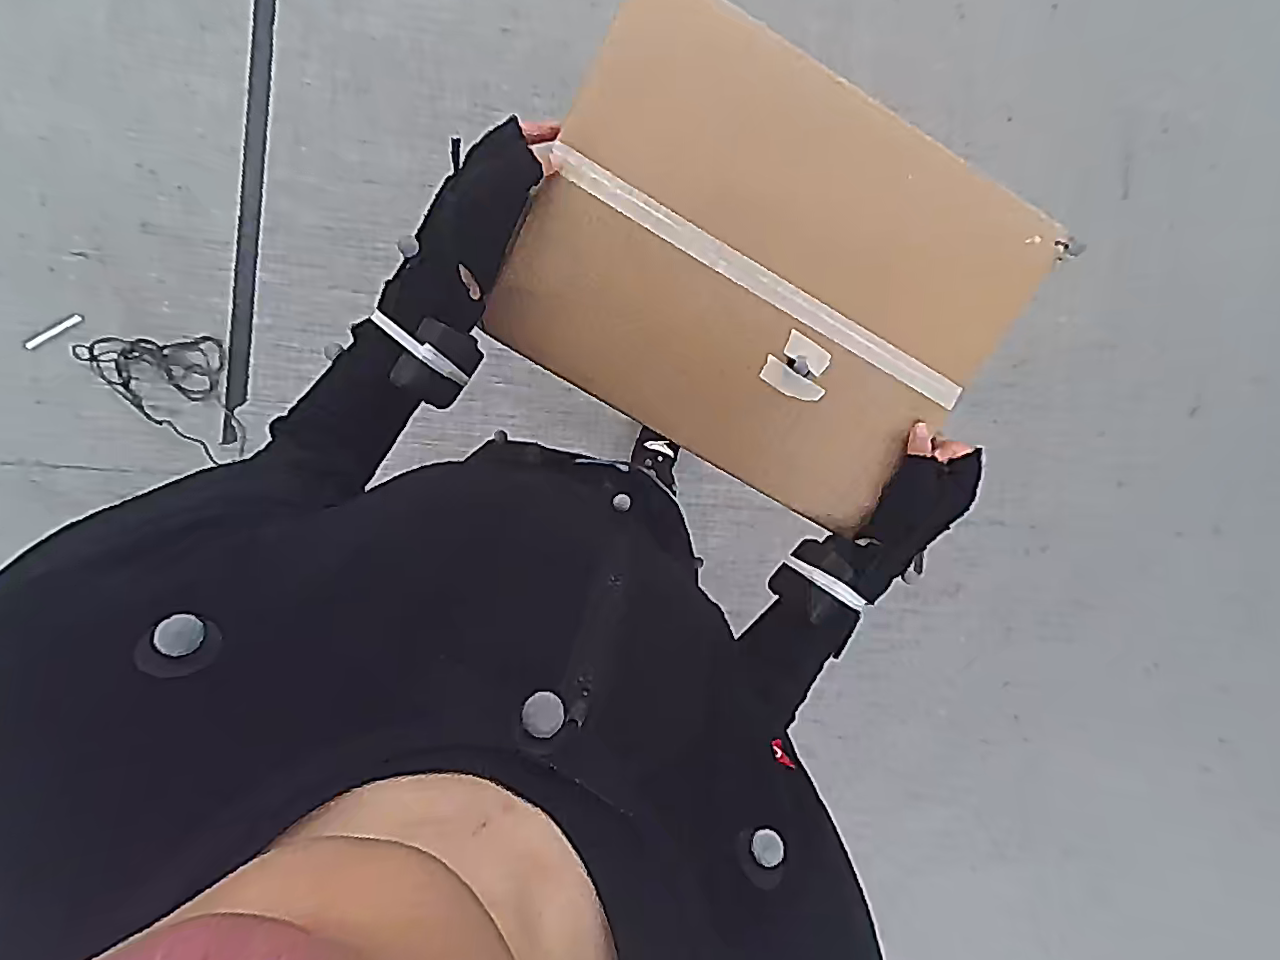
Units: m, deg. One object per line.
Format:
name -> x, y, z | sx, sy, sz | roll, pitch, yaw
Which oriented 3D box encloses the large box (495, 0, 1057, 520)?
large box -> 0.113, -0.217, 0.618 | 0.408, 0.320, 0.320 | 29, 105, -7
